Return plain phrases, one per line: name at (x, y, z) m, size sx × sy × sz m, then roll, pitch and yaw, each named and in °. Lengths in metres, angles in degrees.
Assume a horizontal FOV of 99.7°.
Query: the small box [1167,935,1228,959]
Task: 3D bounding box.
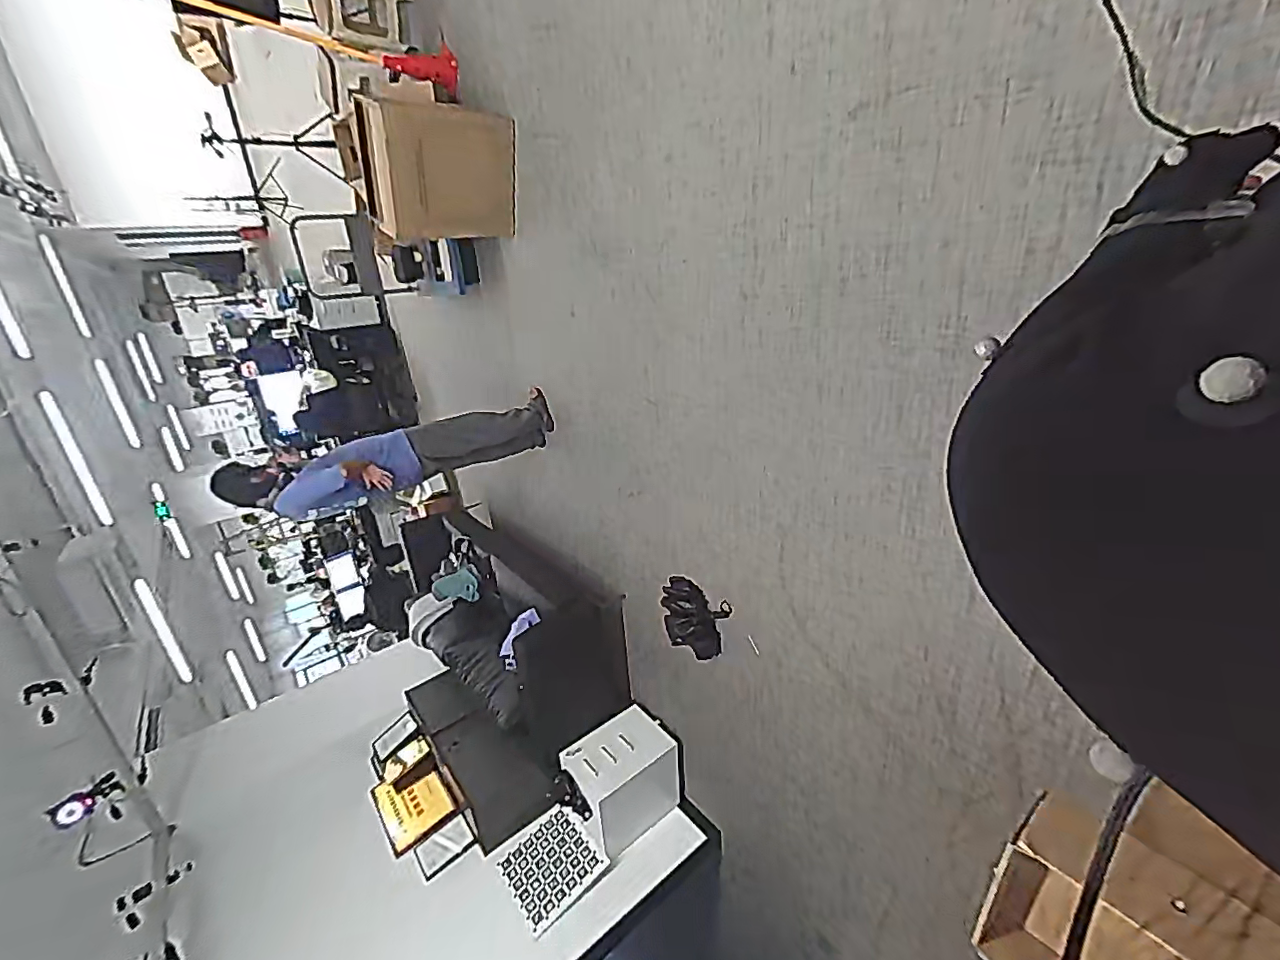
small box at (1.007, 0.960, 0.939) m, size 0.168 × 0.176 × 0.179 m, roll 27°, pitch 131°, yaw 49°
